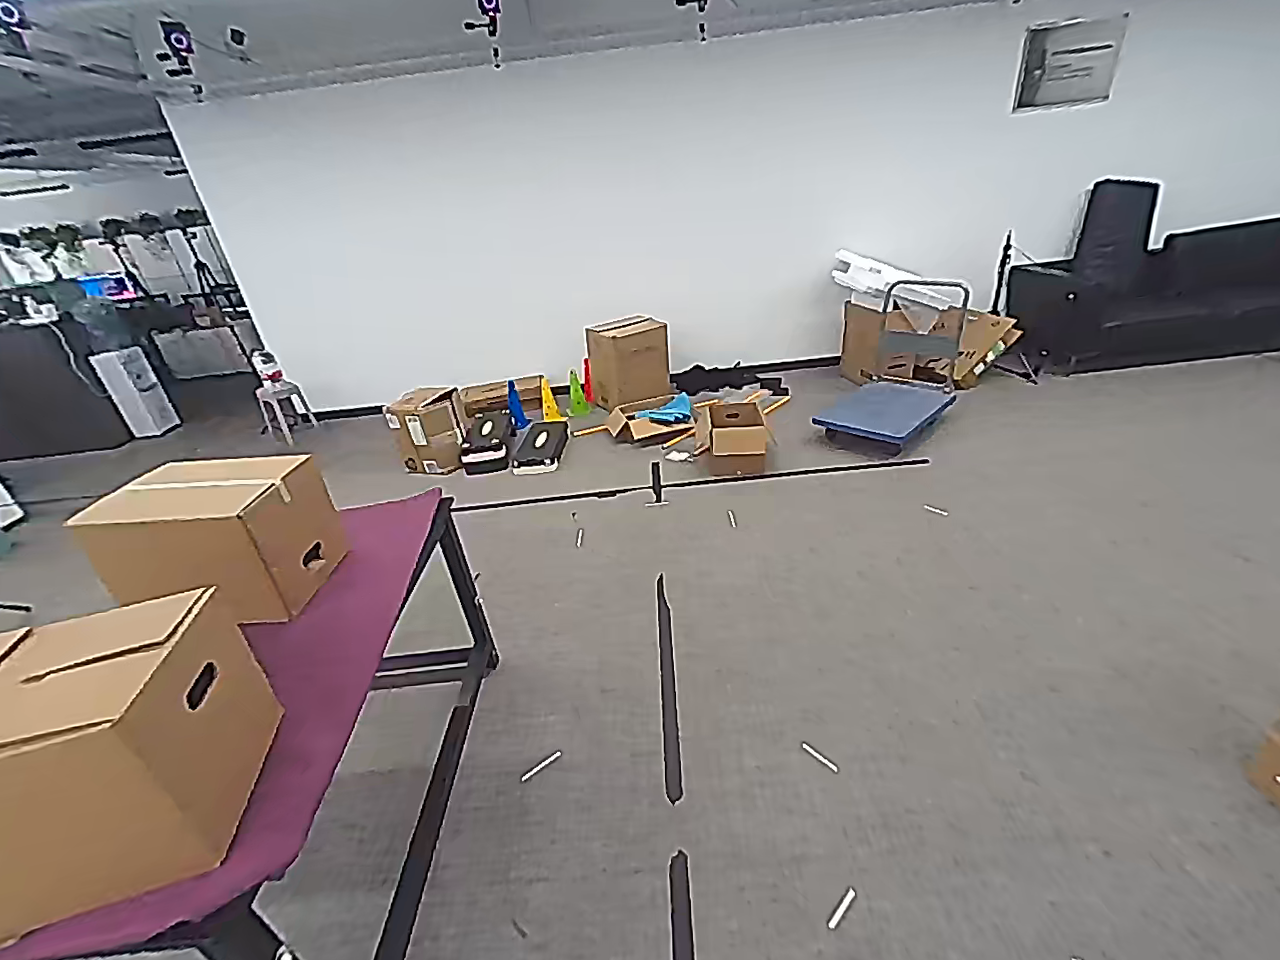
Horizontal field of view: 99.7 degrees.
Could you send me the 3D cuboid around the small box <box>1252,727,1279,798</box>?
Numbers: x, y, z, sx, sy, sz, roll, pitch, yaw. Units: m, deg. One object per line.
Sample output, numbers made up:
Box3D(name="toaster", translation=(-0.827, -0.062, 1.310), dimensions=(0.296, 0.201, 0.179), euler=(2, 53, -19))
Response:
Box3D(name="small box", translation=(1.725, 0.744, 1.366), dimensions=(0.179, 0.176, 0.168), euler=(-7, 28, 0))
